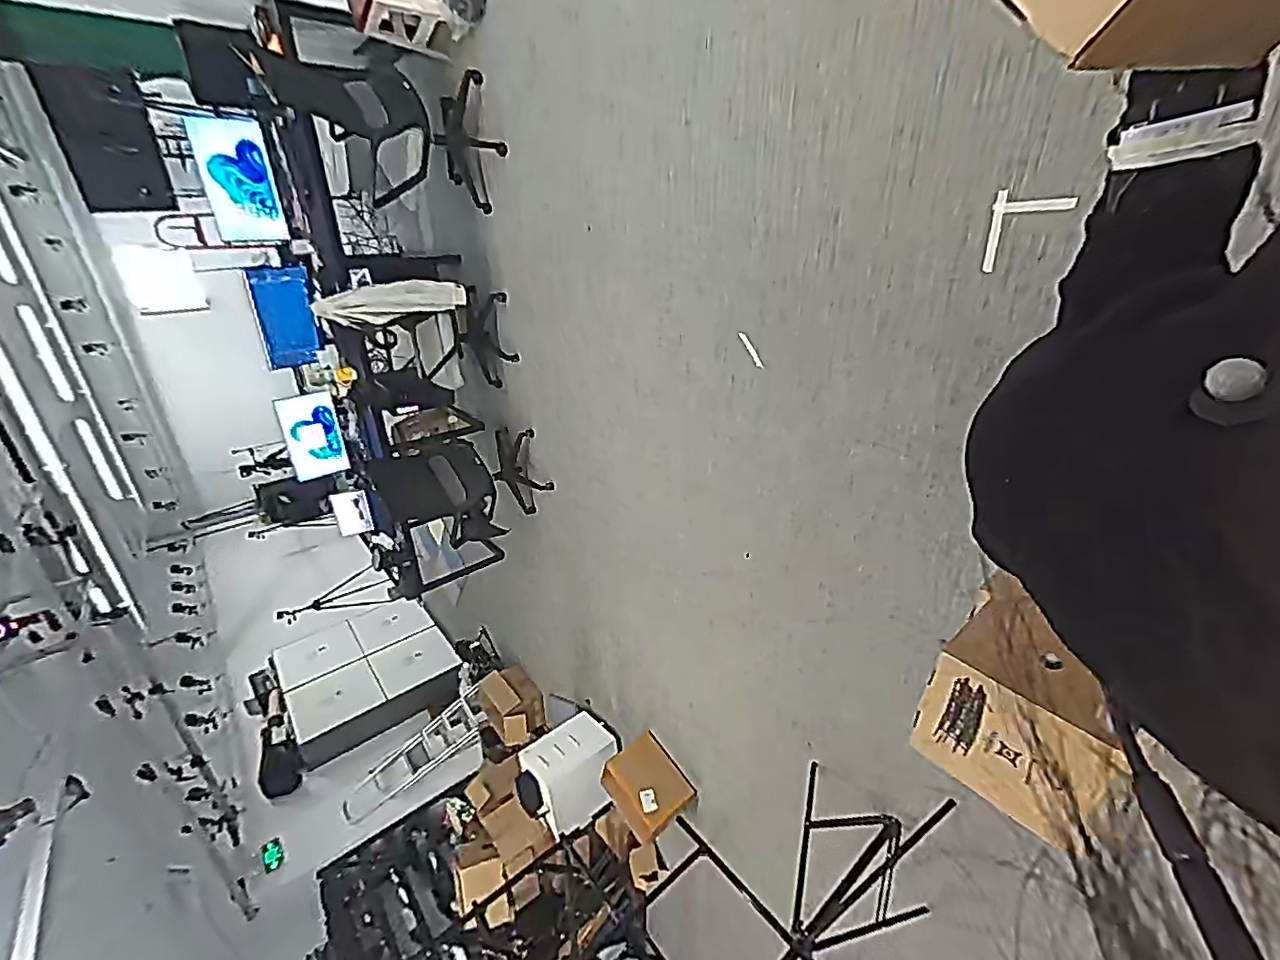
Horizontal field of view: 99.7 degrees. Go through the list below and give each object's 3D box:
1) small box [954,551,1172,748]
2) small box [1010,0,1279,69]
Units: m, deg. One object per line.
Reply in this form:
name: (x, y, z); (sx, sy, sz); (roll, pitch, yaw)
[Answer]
small box: (0.581, 0.218, 0.752); (0.179, 0.176, 0.168); (27, 128, 46)
small box: (0.241, -0.298, 0.199); (0.168, 0.176, 0.179); (66, 159, 16)
